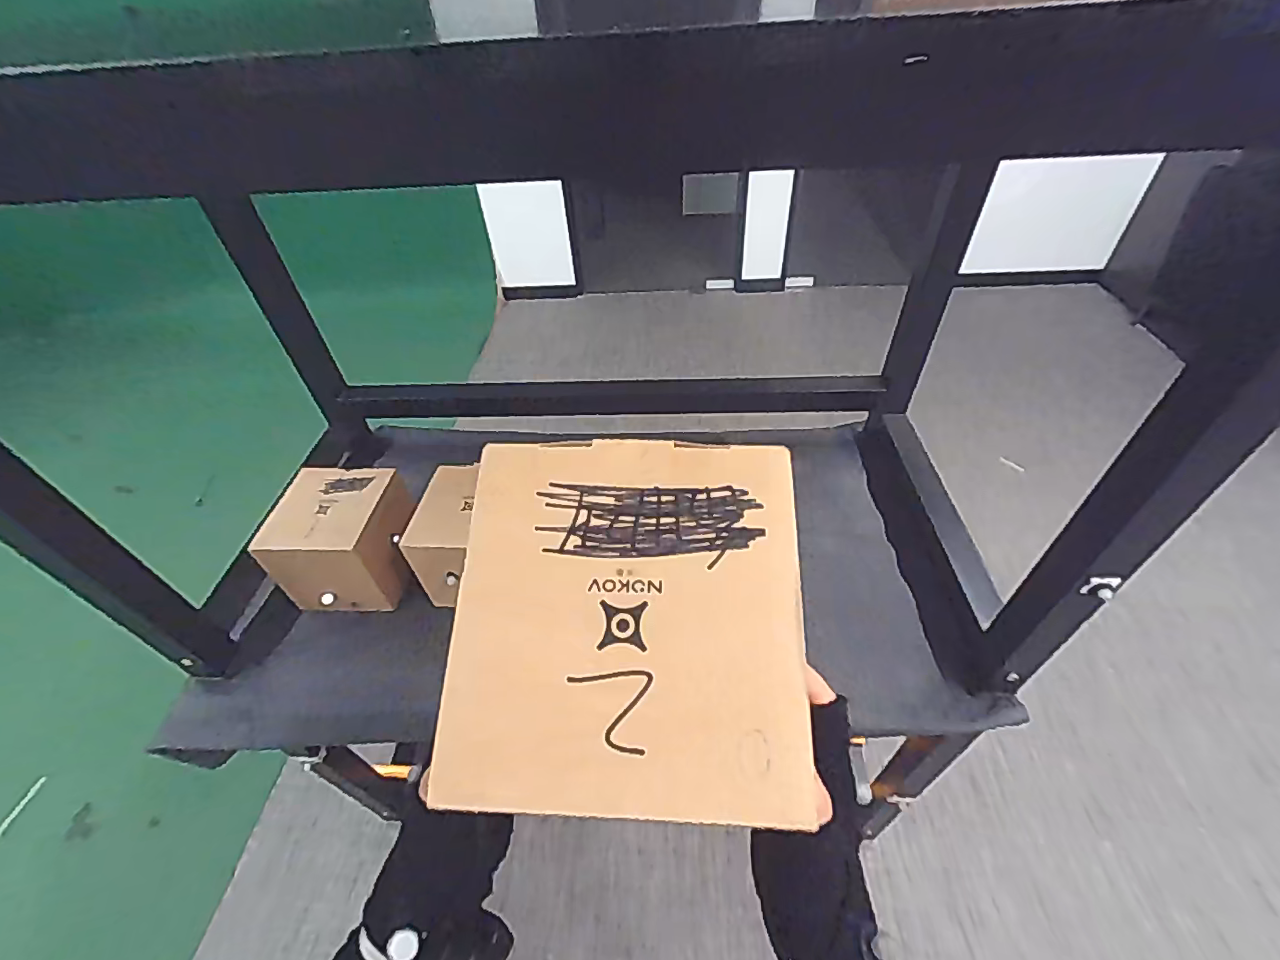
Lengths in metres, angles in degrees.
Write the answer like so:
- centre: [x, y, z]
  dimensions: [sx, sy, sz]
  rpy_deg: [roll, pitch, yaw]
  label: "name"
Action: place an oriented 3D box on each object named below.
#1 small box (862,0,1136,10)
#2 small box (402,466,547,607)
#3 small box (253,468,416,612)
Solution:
- centre: [0.227, -0.379, 0.302]
  dimensions: [0.168, 0.176, 0.179]
  rpy_deg: [8, 45, 12]
  label: "small box"
- centre: [-0.261, 0.096, 0.903]
  dimensions: [0.168, 0.176, 0.179]
  rpy_deg: [1, 44, 5]
  label: "small box"
- centre: [-0.488, 0.100, 0.911]
  dimensions: [0.168, 0.176, 0.179]
  rpy_deg: [0, 45, 4]
  label: "small box"
